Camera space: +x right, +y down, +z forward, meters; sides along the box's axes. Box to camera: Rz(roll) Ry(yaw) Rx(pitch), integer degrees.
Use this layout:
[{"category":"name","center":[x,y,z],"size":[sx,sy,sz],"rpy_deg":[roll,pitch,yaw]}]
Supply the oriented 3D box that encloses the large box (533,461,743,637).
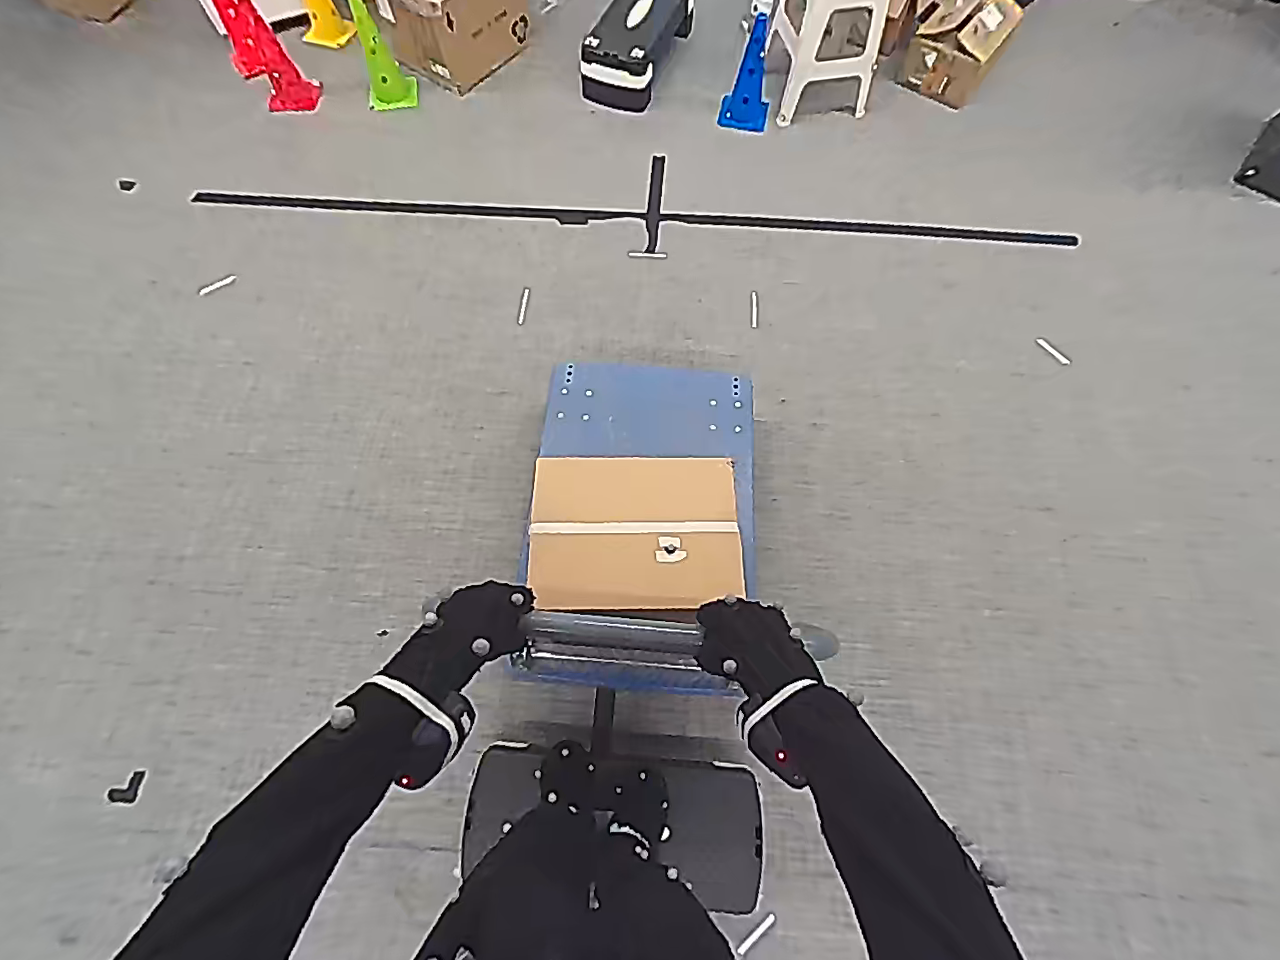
[{"category":"large box","center":[-0.013,0.164,1.204],"size":[0.408,0.320,0.320],"rpy_deg":[0,65,-2]}]
